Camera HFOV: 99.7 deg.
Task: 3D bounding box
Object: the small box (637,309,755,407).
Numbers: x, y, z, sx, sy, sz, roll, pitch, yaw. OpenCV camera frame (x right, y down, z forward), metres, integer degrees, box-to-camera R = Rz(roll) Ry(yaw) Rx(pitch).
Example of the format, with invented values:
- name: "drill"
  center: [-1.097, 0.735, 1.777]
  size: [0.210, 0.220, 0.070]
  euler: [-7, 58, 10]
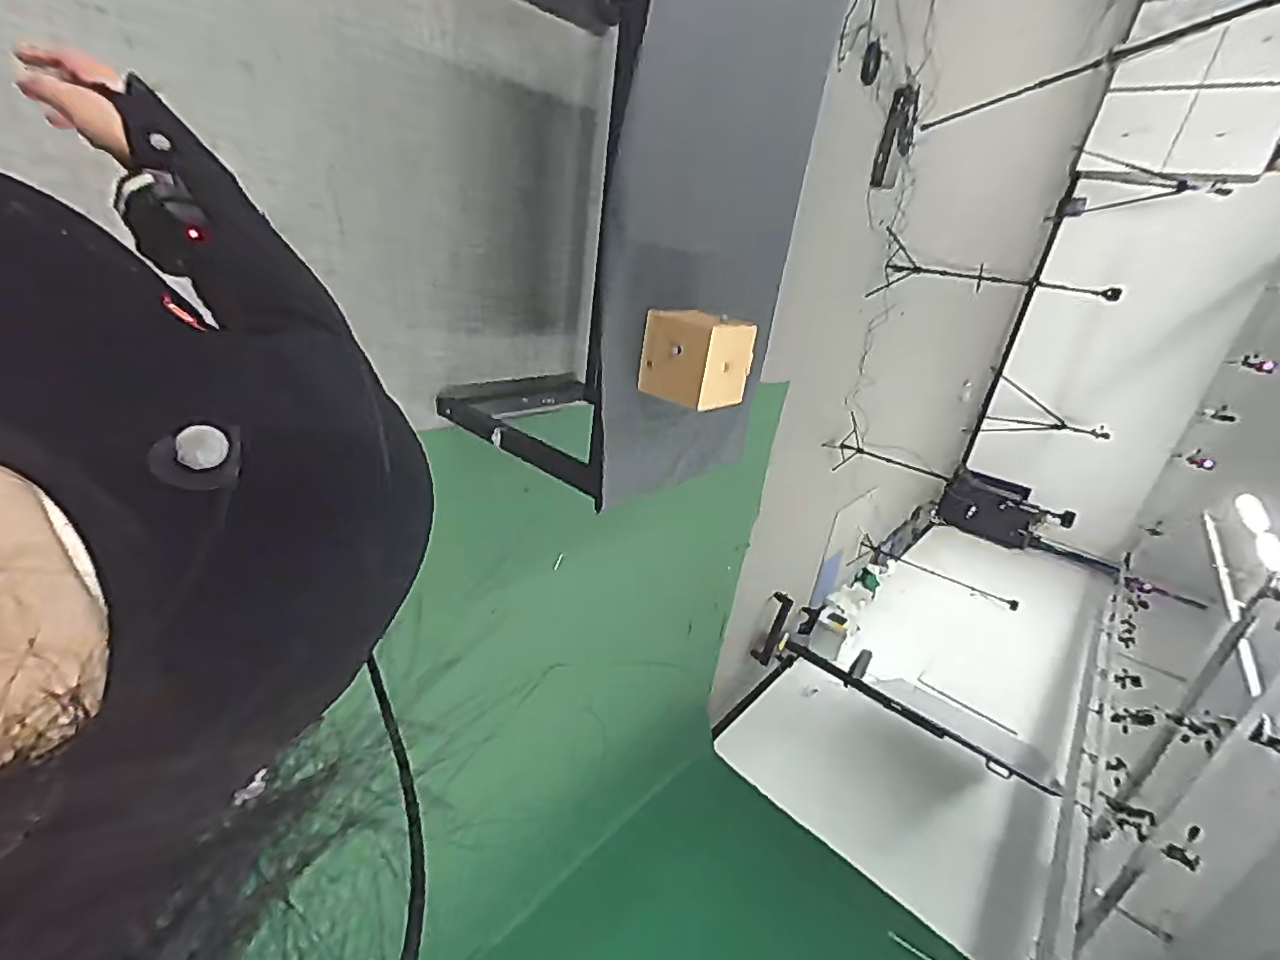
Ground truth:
- name: "small box"
  center: [0.113, -0.261, 1.139]
  size: [0.179, 0.176, 0.168]
  euler: [-19, 125, -47]
